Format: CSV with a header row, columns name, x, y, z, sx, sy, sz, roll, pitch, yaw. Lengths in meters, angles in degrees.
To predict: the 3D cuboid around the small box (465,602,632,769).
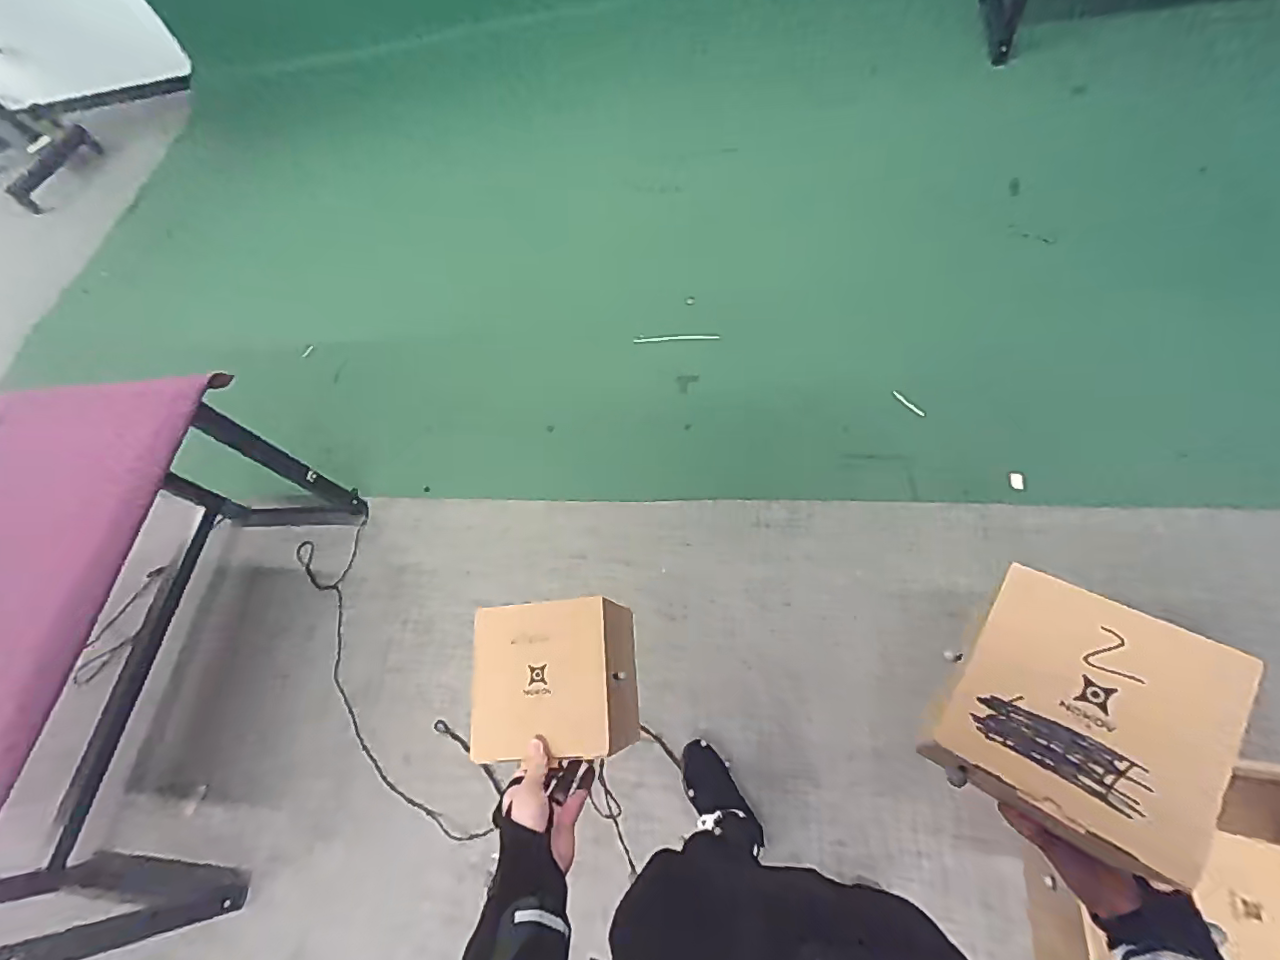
name,x,y,z,sx,sy,sz,roll,pitch,yaw
small box,-0.108,0.261,0.702,0.168,0.176,0.179,-7,70,9
